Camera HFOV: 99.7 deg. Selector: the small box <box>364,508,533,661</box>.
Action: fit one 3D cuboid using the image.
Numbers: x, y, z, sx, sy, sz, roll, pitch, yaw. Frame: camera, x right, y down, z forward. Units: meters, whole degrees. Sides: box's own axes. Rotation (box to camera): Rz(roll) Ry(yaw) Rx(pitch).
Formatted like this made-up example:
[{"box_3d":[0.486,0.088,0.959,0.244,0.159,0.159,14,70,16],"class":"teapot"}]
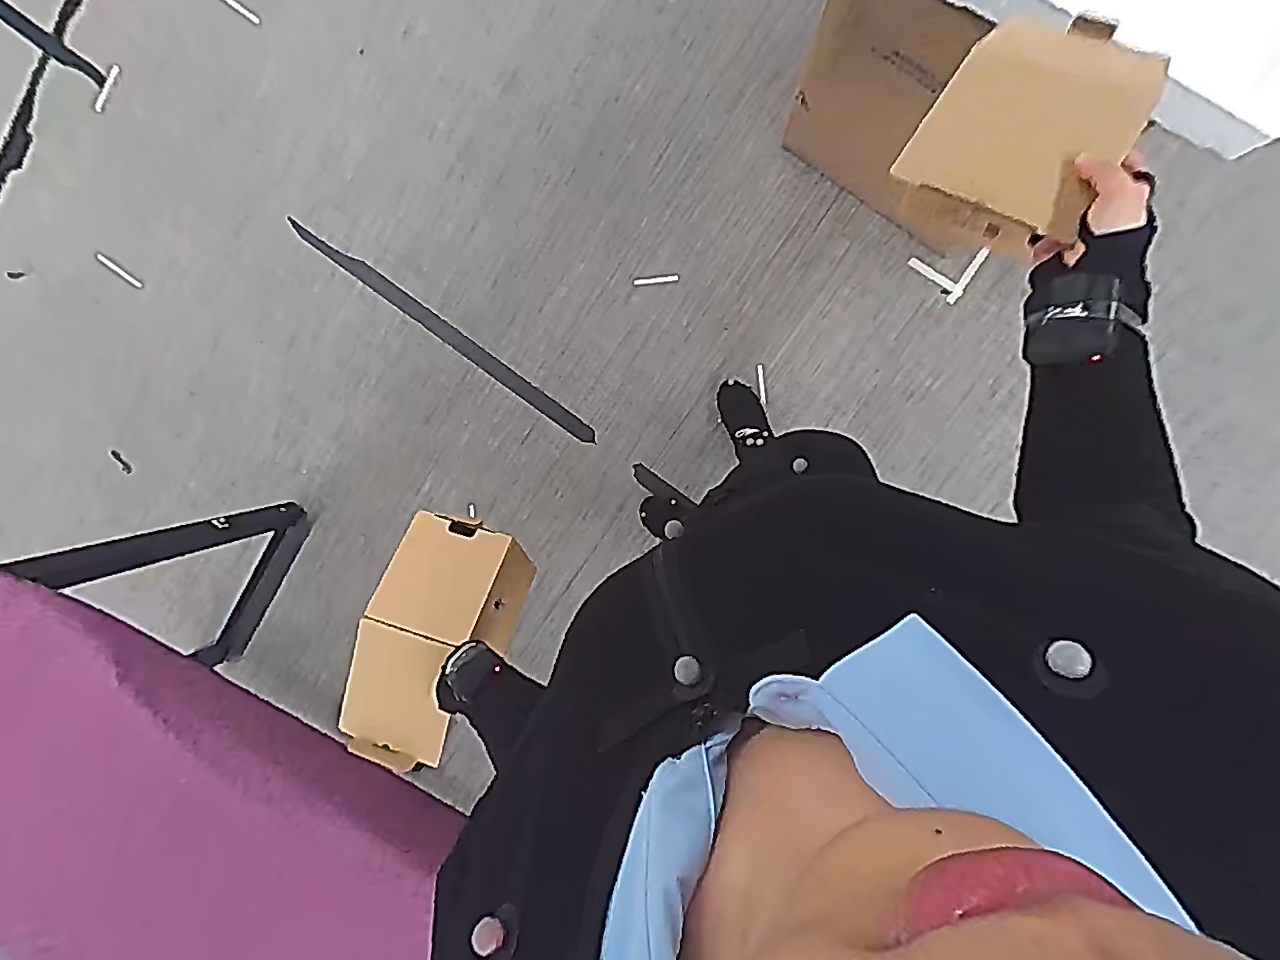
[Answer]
[{"box_3d":[-0.284,0.171,0.851,0.168,0.176,0.179,15,65,9],"class":"small box"}]
